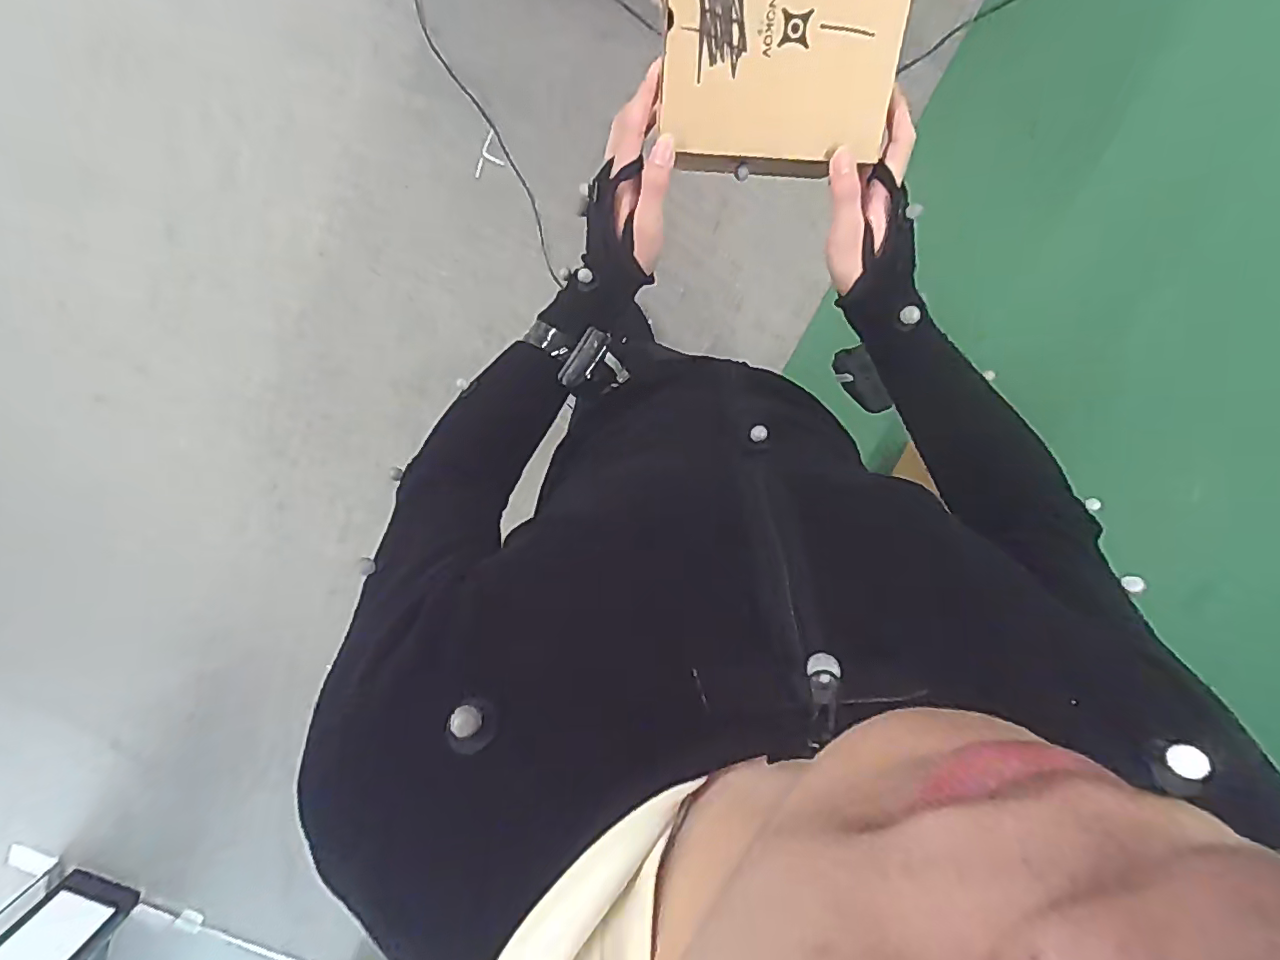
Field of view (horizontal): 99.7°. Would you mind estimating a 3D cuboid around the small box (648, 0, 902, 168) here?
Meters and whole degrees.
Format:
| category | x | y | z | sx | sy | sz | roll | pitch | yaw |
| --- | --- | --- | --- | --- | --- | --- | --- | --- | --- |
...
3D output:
| category | x | y | z | sx | sy | sz | roll | pitch | yaw |
| --- | --- | --- | --- | --- | --- | --- | --- | --- | --- |
| small box | 0.101 | -0.367 | 0.456 | 0.179 | 0.176 | 0.168 | 3 | 116 | 1 |
